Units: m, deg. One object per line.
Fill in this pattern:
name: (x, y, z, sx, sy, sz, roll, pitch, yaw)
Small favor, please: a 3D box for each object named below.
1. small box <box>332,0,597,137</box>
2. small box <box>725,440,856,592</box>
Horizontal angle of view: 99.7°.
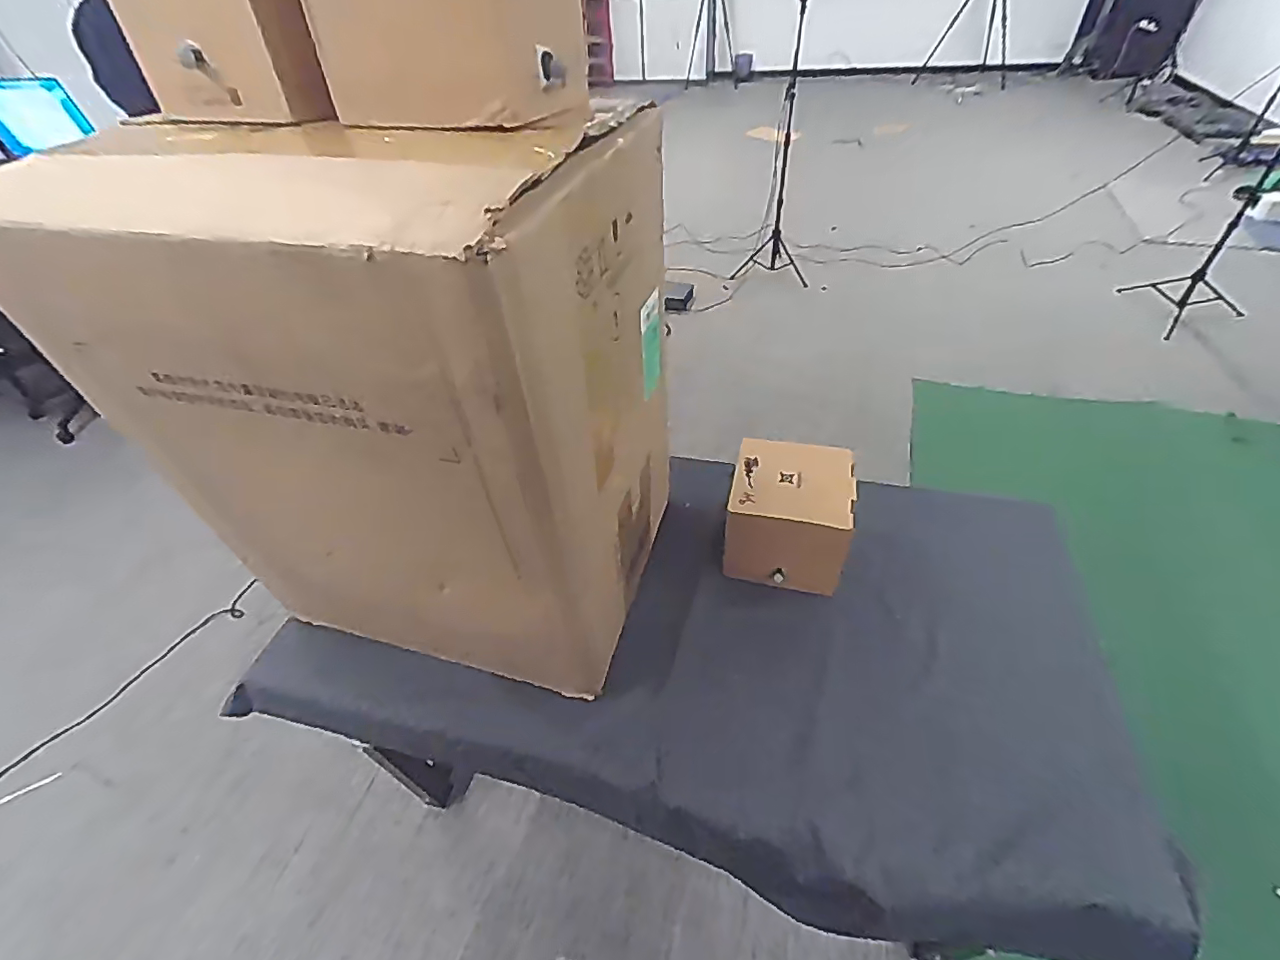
small box: (-0.148, -0.411, 0.474, 0.179, 0.176, 0.168, 11, 43, 14)
small box: (0.240, 0.060, 0.877, 0.179, 0.176, 0.168, 8, 46, 14)
